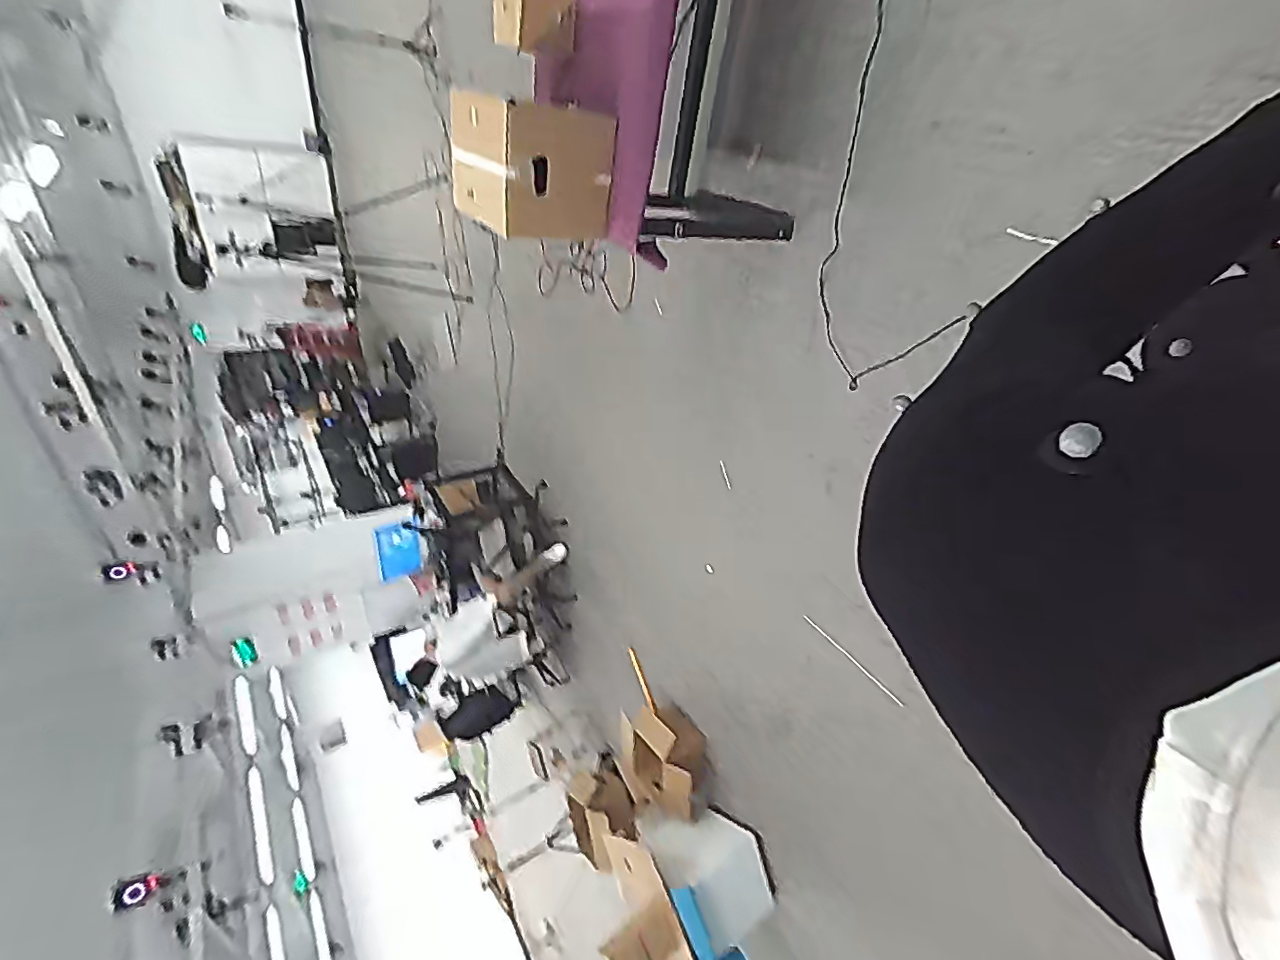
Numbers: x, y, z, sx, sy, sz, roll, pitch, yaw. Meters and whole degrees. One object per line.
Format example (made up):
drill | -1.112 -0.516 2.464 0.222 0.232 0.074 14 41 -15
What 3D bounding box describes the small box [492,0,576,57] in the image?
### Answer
small box | -0.295 -1.288 1.488 0.179 0.176 0.168 45 137 38
